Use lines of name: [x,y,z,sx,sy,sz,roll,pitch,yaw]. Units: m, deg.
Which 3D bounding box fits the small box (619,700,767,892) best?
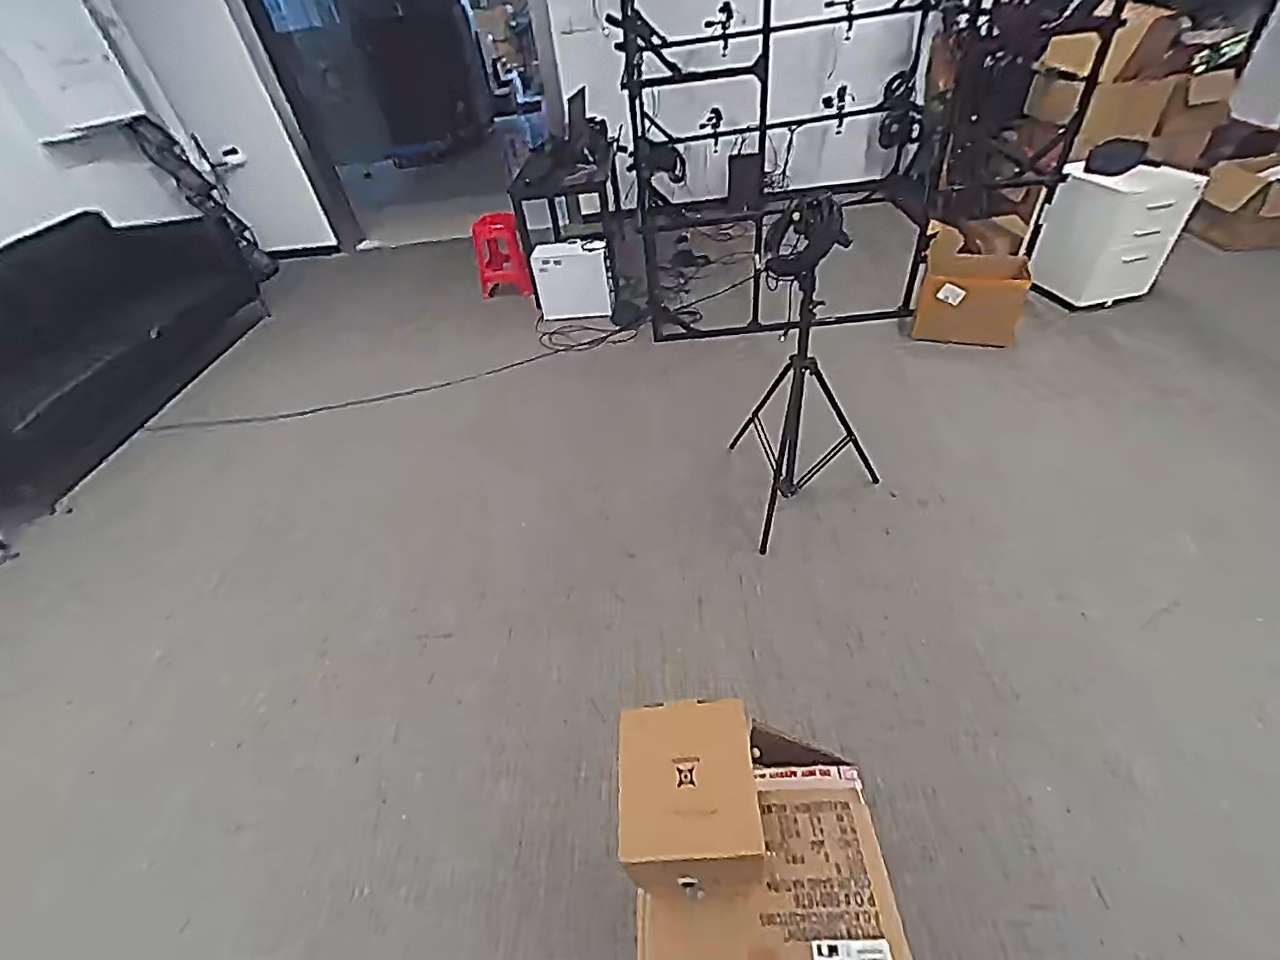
small box: [0.067,0.413,0.707,0.168,0.176,0.179,-7,44,5]
